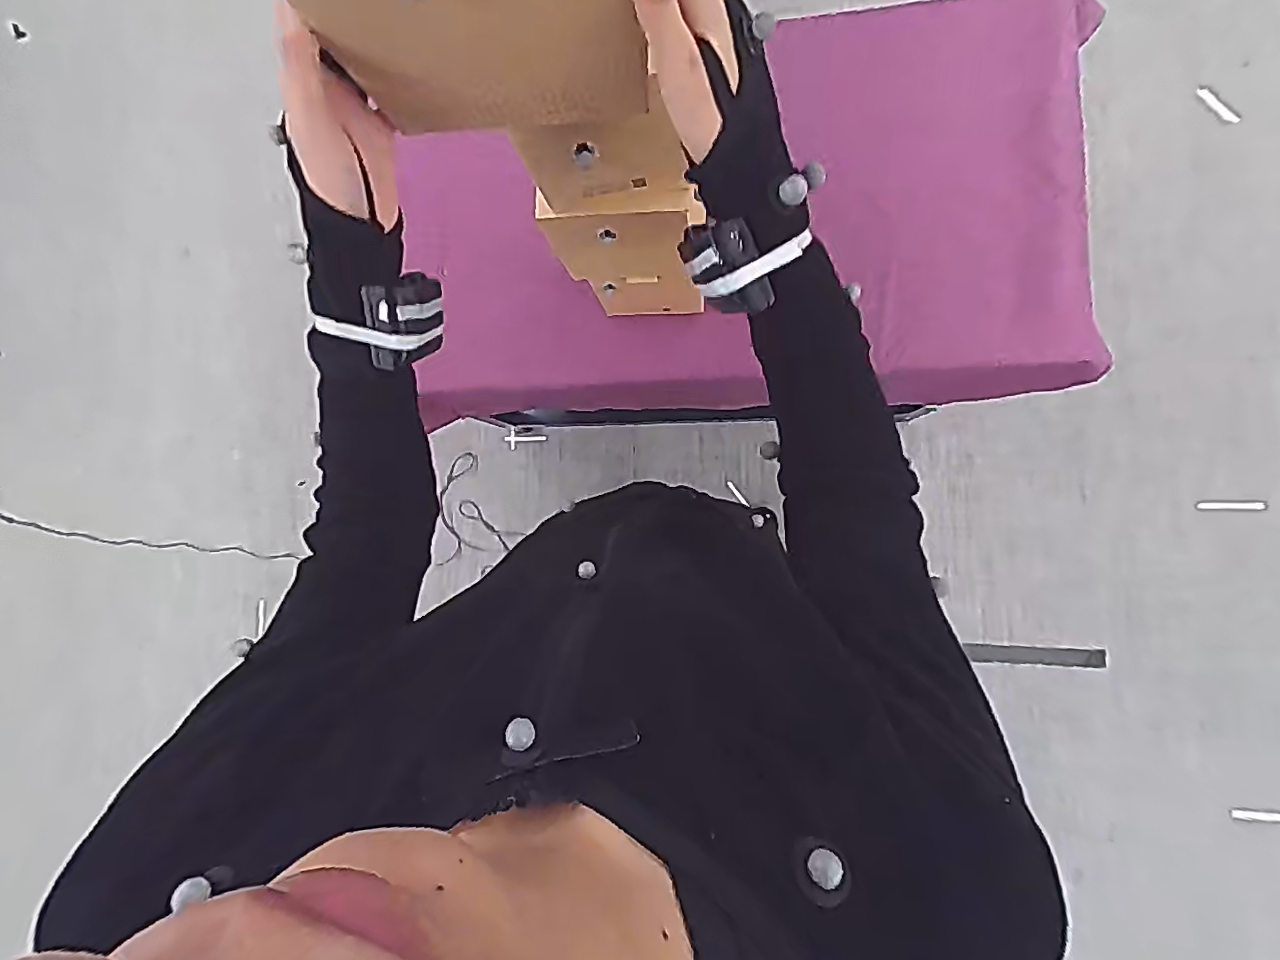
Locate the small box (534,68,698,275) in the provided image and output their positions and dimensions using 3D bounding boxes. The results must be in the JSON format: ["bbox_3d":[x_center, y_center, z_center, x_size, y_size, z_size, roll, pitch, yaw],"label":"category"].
[{"bbox_3d":[-0.020,-0.371,0.682,0.179,0.176,0.168,1,88,8],"label":"small box"}]

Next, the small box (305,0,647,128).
[{"bbox_3d":[-0.091,-0.319,0.287,0.179,0.176,0.168,-1,93,5],"label":"small box"}]

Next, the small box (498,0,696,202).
[{"bbox_3d":[-0.038,-0.396,0.522,0.168,0.176,0.179,-6,85,8],"label":"small box"}]
